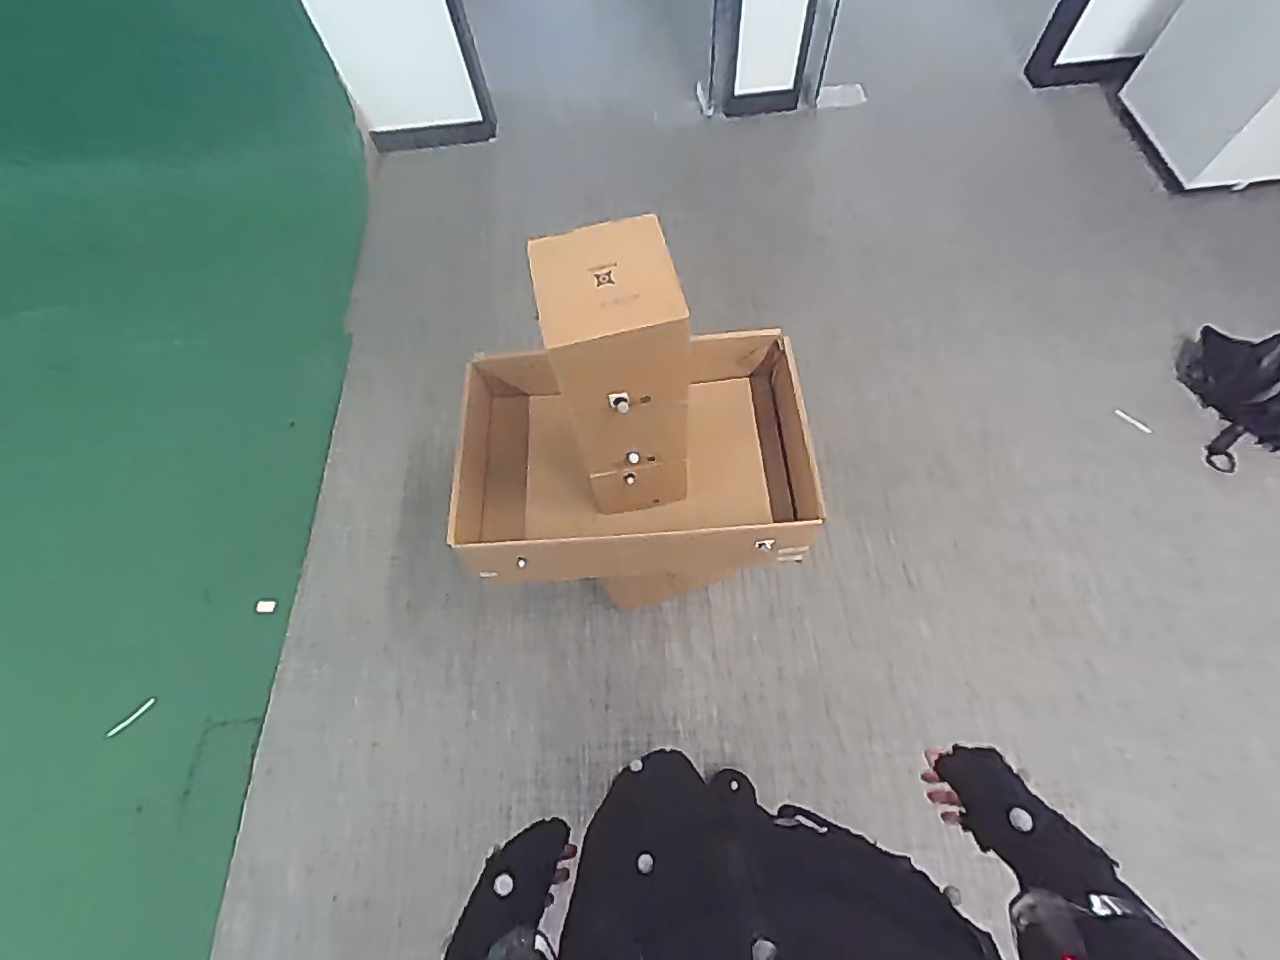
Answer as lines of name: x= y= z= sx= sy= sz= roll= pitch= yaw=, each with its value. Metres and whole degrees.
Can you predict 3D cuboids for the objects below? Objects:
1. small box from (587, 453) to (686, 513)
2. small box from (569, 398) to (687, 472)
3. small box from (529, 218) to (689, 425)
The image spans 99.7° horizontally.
small box: x=-0.010 y=-0.060 z=1.001 sx=0.168 sy=0.176 sz=0.179 roll=-11 pitch=63 yaw=1
small box: x=-0.022 y=-0.134 z=0.855 sx=0.168 sy=0.176 sz=0.179 roll=-10 pitch=65 yaw=1
small box: x=-0.036 y=-0.200 z=0.708 sx=0.168 sy=0.176 sz=0.179 roll=-14 pitch=65 yaw=0
